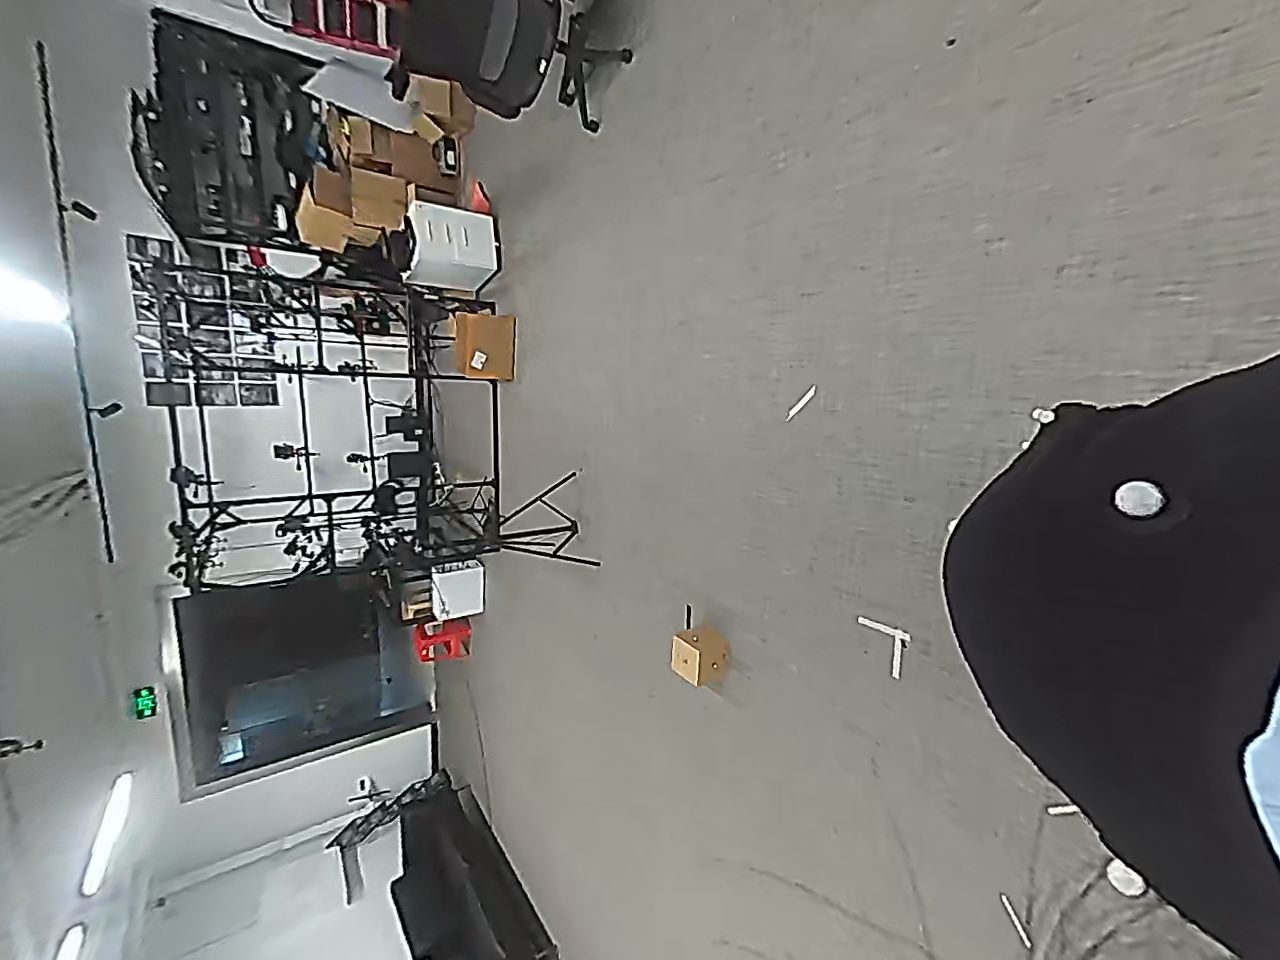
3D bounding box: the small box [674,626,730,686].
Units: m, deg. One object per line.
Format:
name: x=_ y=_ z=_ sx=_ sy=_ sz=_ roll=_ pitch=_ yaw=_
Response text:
small box: x=0.268 y=0.749 z=2.328 sx=0.179 sy=0.176 sz=0.168 roll=20 pitch=110 yaw=54
